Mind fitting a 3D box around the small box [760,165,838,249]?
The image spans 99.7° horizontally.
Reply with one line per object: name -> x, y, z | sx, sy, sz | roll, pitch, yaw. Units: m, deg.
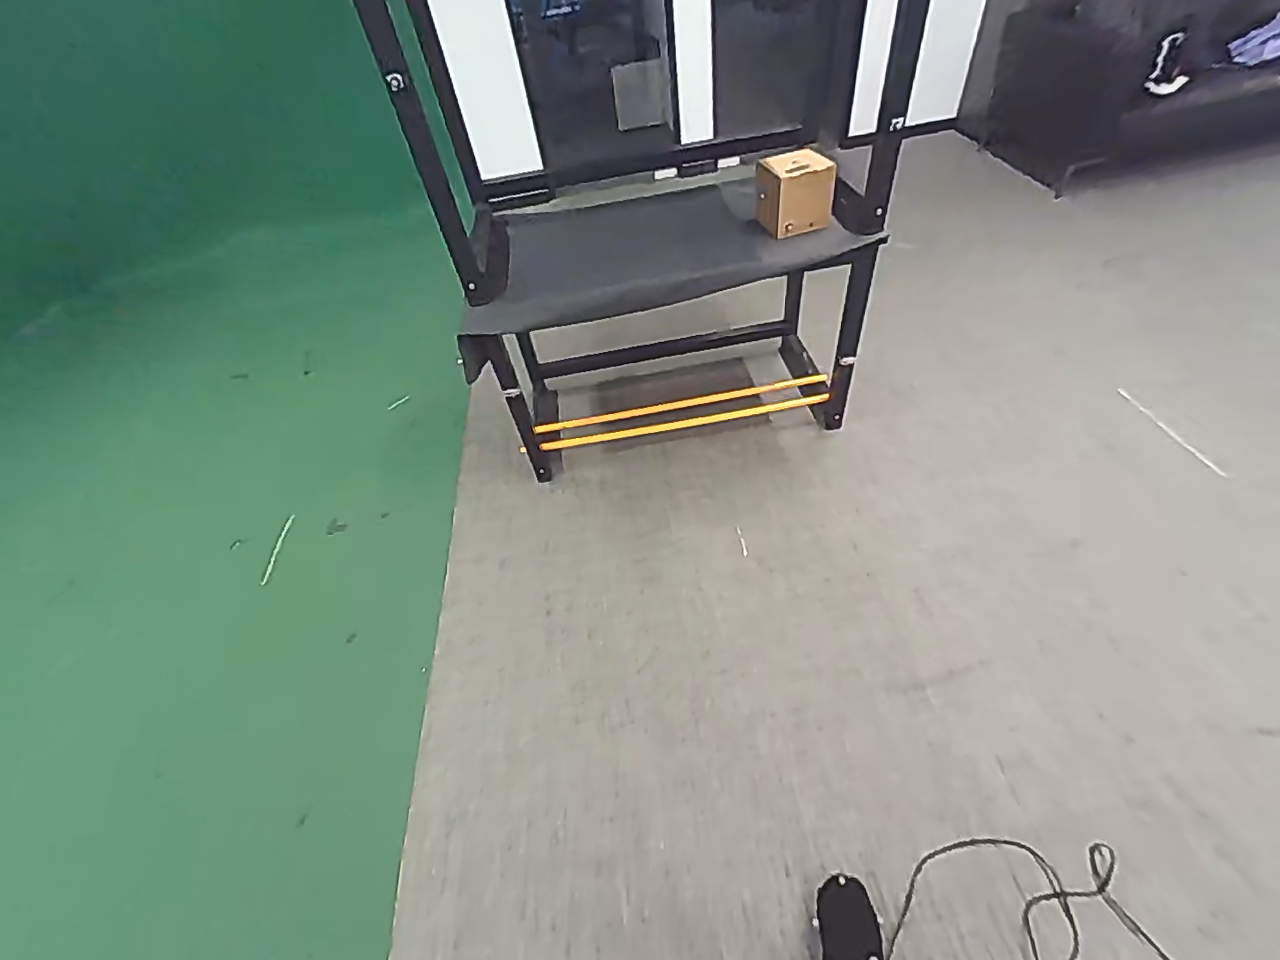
small box -> 0.465, -0.804, 1.606 | 0.168, 0.176, 0.179 | -15, 45, -4
